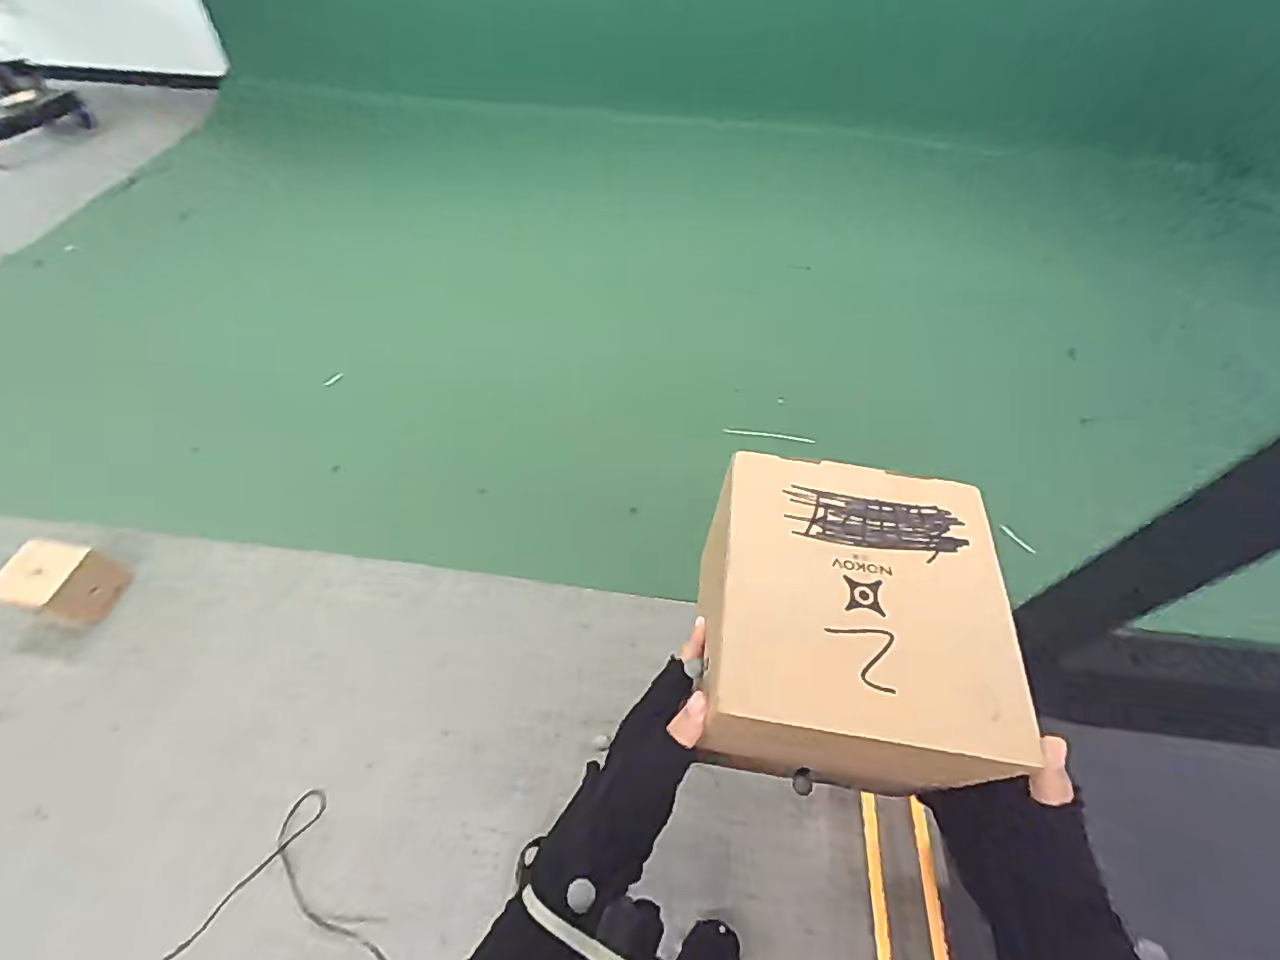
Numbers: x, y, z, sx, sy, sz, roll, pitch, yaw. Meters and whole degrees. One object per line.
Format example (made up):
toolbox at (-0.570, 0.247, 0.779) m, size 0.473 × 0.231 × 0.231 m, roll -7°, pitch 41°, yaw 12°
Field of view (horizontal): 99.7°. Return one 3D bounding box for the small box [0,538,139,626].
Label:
small box at (-1.522, 0.277, 1.446) m, size 0.179 × 0.176 × 0.168 m, roll 7°, pitch 54°, yaw 3°
